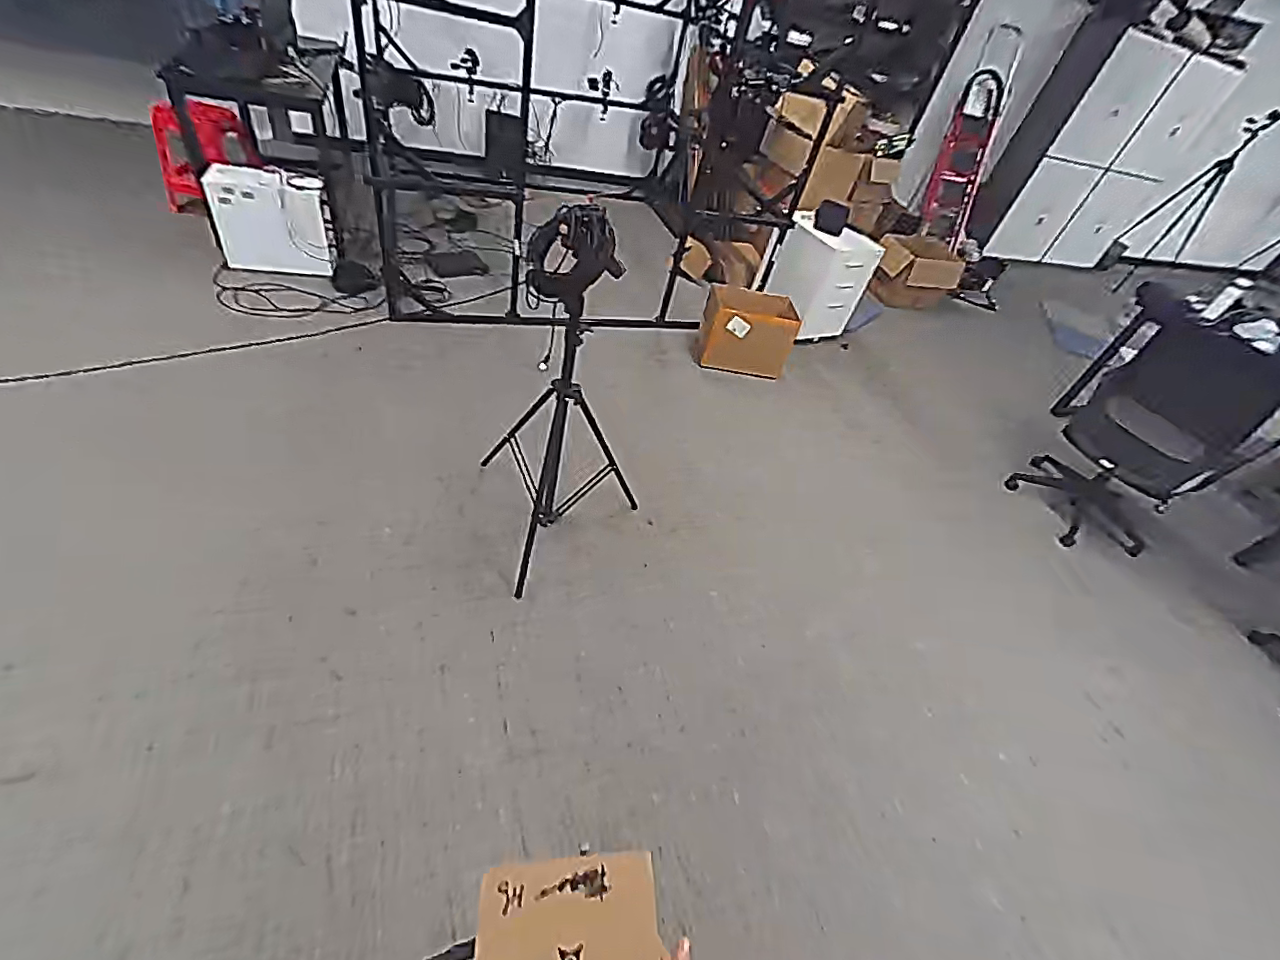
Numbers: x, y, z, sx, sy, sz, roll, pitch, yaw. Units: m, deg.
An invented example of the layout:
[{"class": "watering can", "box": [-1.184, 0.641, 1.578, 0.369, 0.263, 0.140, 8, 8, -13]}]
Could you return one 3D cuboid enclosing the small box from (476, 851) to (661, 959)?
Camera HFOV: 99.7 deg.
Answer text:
[{"class": "small box", "box": [-0.071, 0.483, 0.531, 0.168, 0.176, 0.179, 1, 50, -10]}]
